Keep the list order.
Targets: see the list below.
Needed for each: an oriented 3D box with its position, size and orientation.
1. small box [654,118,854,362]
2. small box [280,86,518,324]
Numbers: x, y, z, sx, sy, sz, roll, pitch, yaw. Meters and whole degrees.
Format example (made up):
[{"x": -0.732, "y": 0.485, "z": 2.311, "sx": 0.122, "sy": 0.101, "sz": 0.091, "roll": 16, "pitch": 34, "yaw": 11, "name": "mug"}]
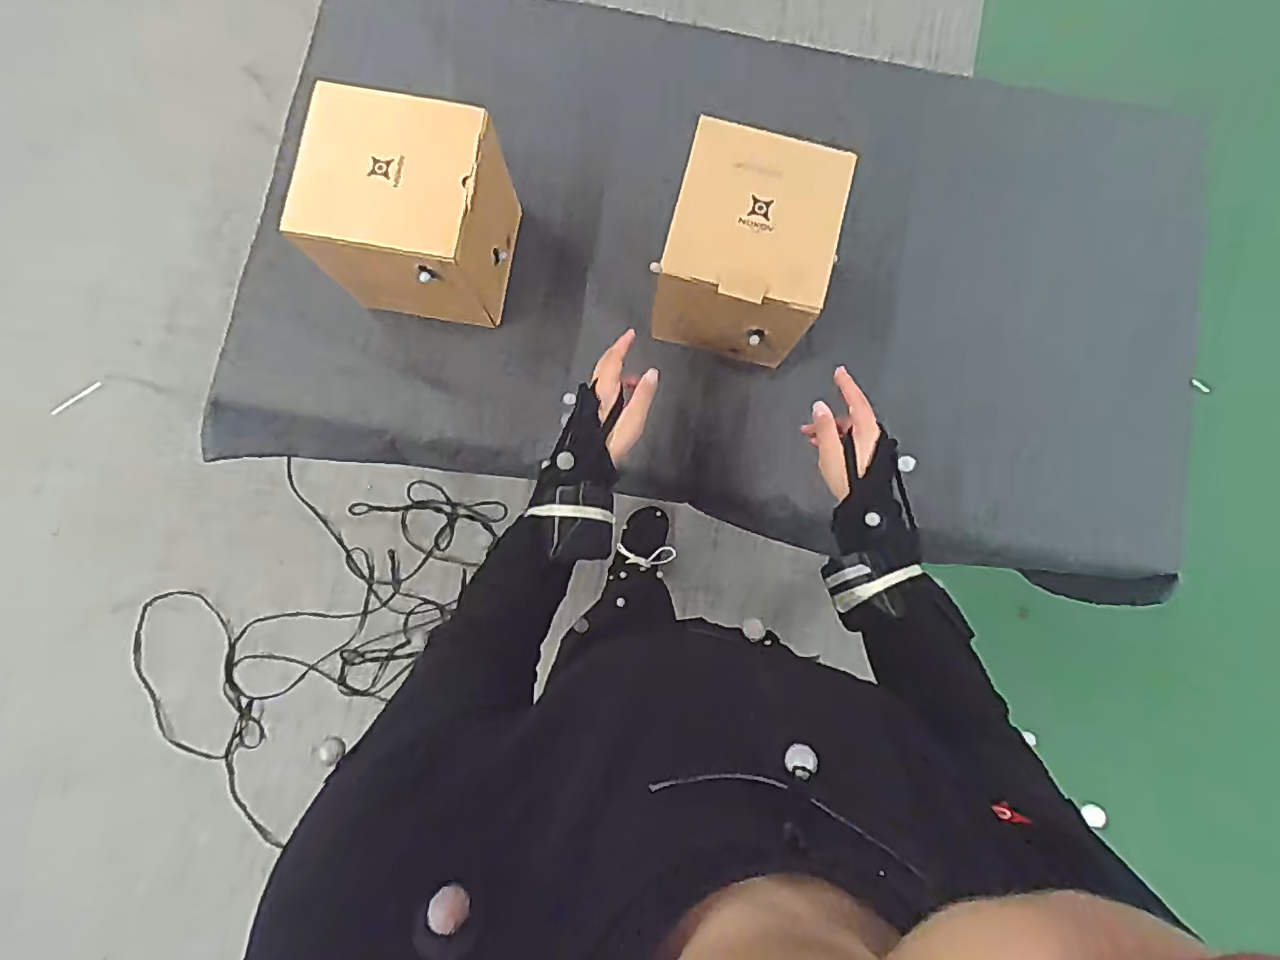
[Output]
[{"x": 0.114, "y": -0.253, "z": 0.612, "sx": 0.168, "sy": 0.176, "sz": 0.179, "roll": 14, "pitch": 82, "yaw": -1, "name": "small box"}, {"x": -0.251, "y": -0.292, "z": 0.609, "sx": 0.179, "sy": 0.176, "sz": 0.168, "roll": 9, "pitch": 83, "yaw": -1, "name": "small box"}]
